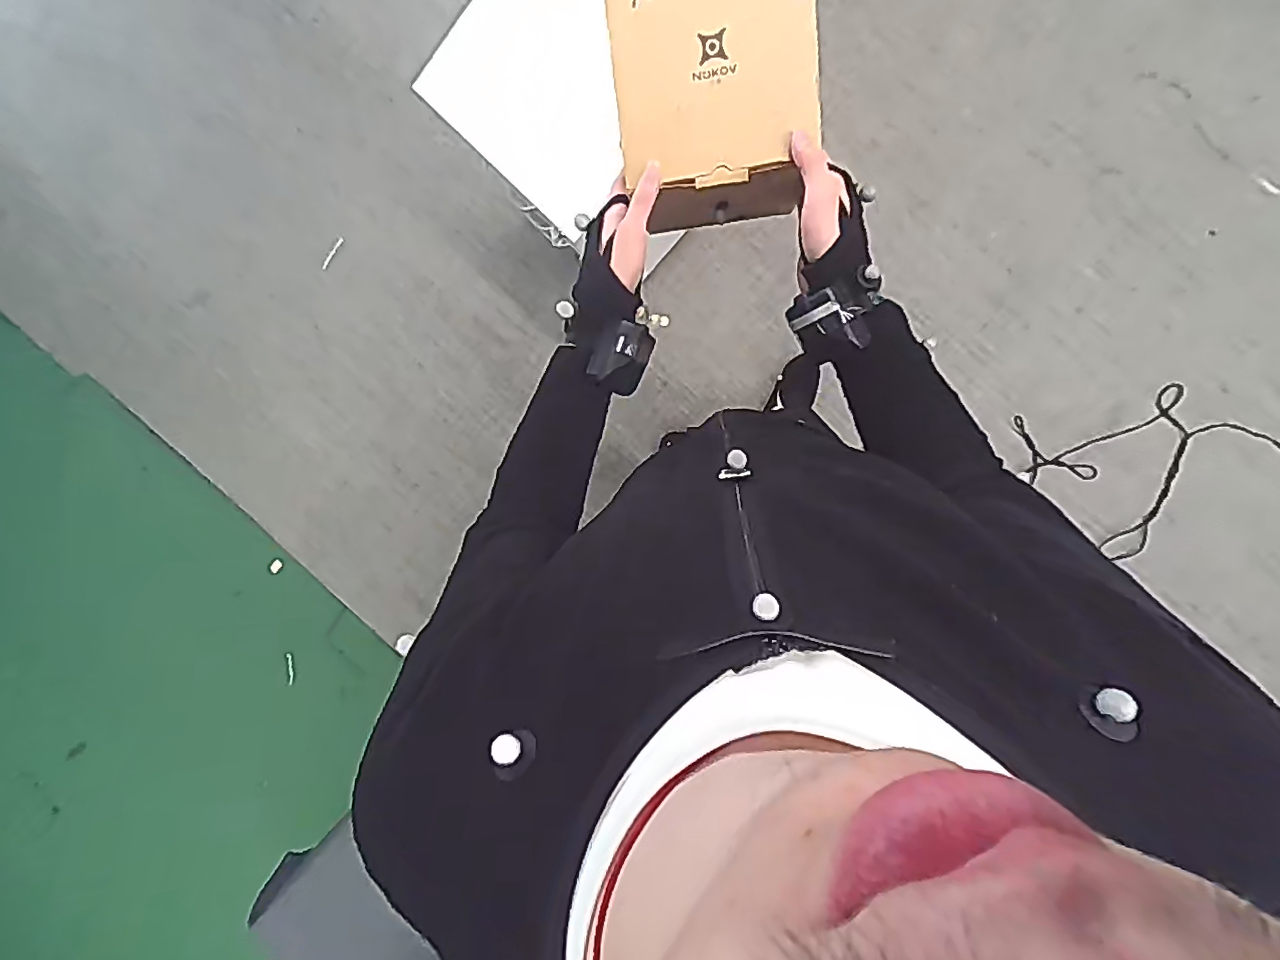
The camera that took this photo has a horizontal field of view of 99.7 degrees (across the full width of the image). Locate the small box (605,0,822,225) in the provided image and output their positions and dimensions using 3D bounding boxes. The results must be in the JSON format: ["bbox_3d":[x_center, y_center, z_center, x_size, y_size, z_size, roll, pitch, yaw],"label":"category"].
[{"bbox_3d":[0.073,-0.362,0.520,0.168,0.176,0.179,-7,101,10],"label":"small box"}]
